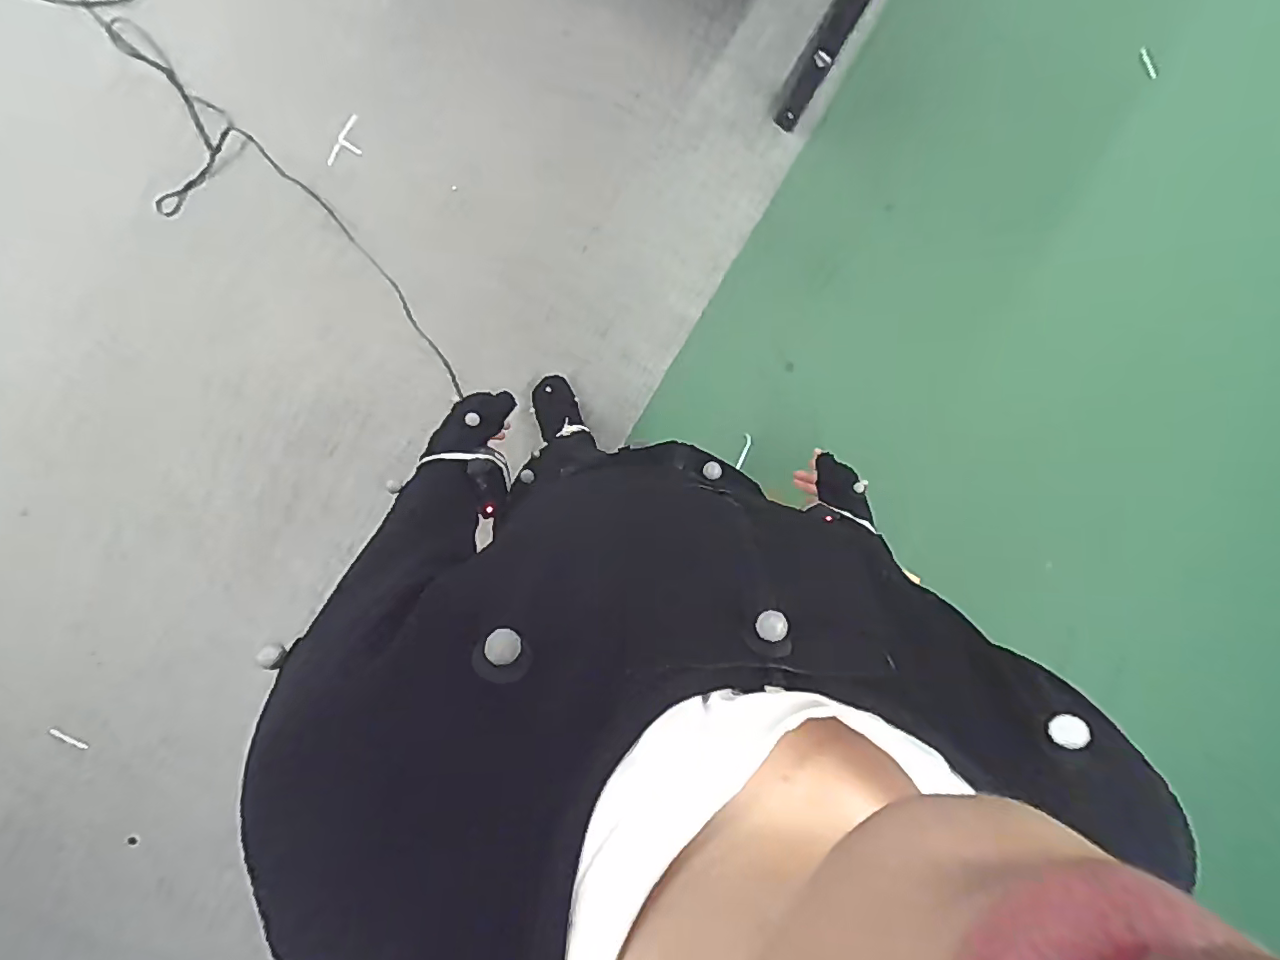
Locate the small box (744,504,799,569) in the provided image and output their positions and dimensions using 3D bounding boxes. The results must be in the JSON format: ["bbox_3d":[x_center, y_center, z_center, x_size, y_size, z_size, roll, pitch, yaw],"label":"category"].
[{"bbox_3d":[0.403,0.177,1.428,0.179,0.176,0.168,31,93,-6],"label":"small box"}]
